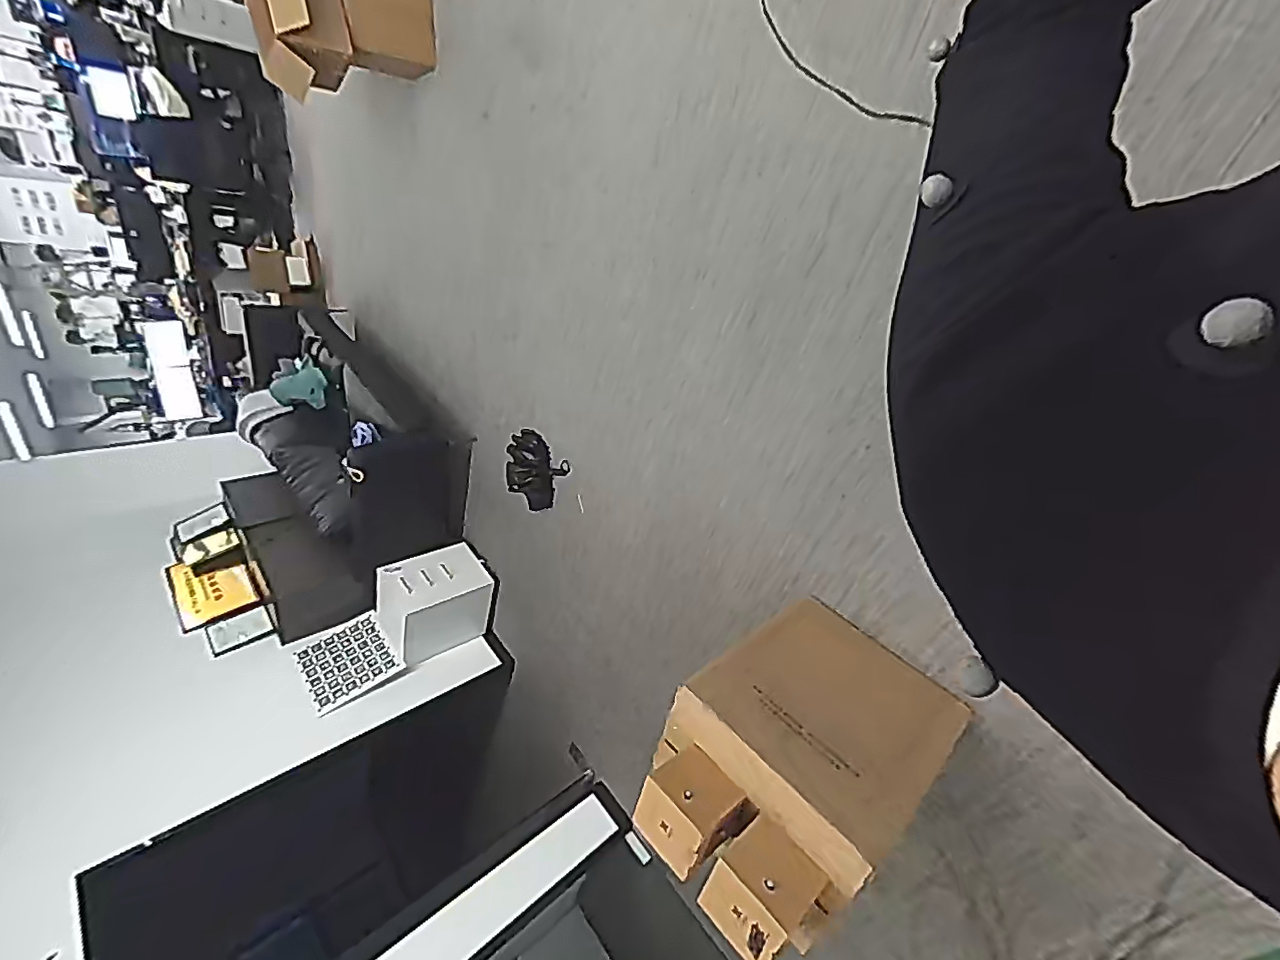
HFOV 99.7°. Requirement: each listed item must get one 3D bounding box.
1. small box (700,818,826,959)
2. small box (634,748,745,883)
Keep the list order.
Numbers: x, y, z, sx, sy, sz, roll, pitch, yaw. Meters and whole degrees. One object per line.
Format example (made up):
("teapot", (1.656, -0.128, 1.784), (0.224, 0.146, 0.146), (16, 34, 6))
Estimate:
("small box", (0.263, 0.873, 1.147), (0.179, 0.176, 0.168), (34, 120, 36))
("small box", (0.119, 0.777, 1.273), (0.179, 0.176, 0.168), (33, 118, 38))
